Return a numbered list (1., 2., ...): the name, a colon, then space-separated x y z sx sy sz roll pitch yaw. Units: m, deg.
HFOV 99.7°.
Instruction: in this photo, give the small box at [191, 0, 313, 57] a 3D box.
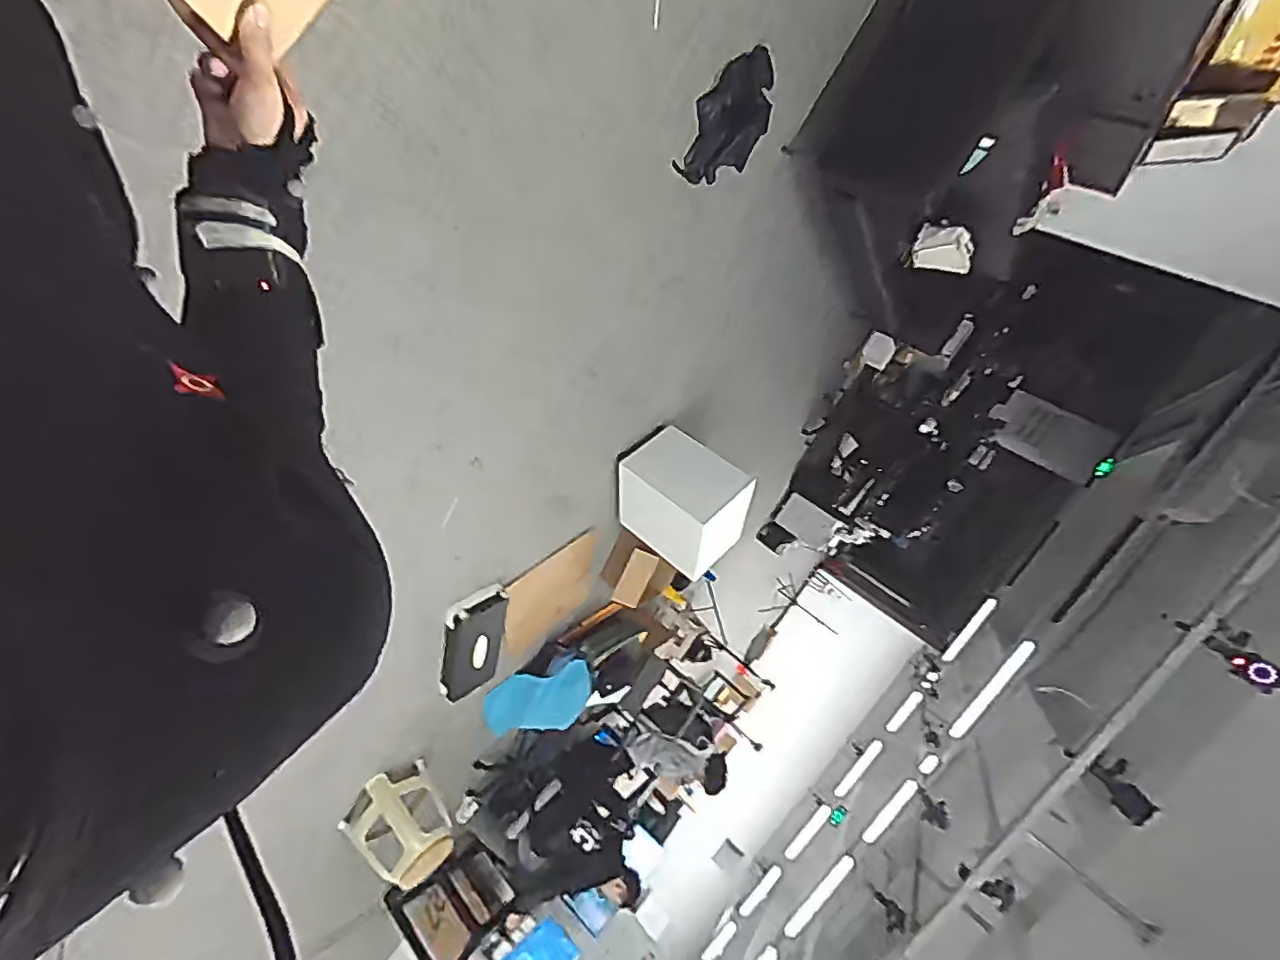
1. small box: -0.297 -0.434 0.335 0.179 0.176 0.168 -49 166 4
